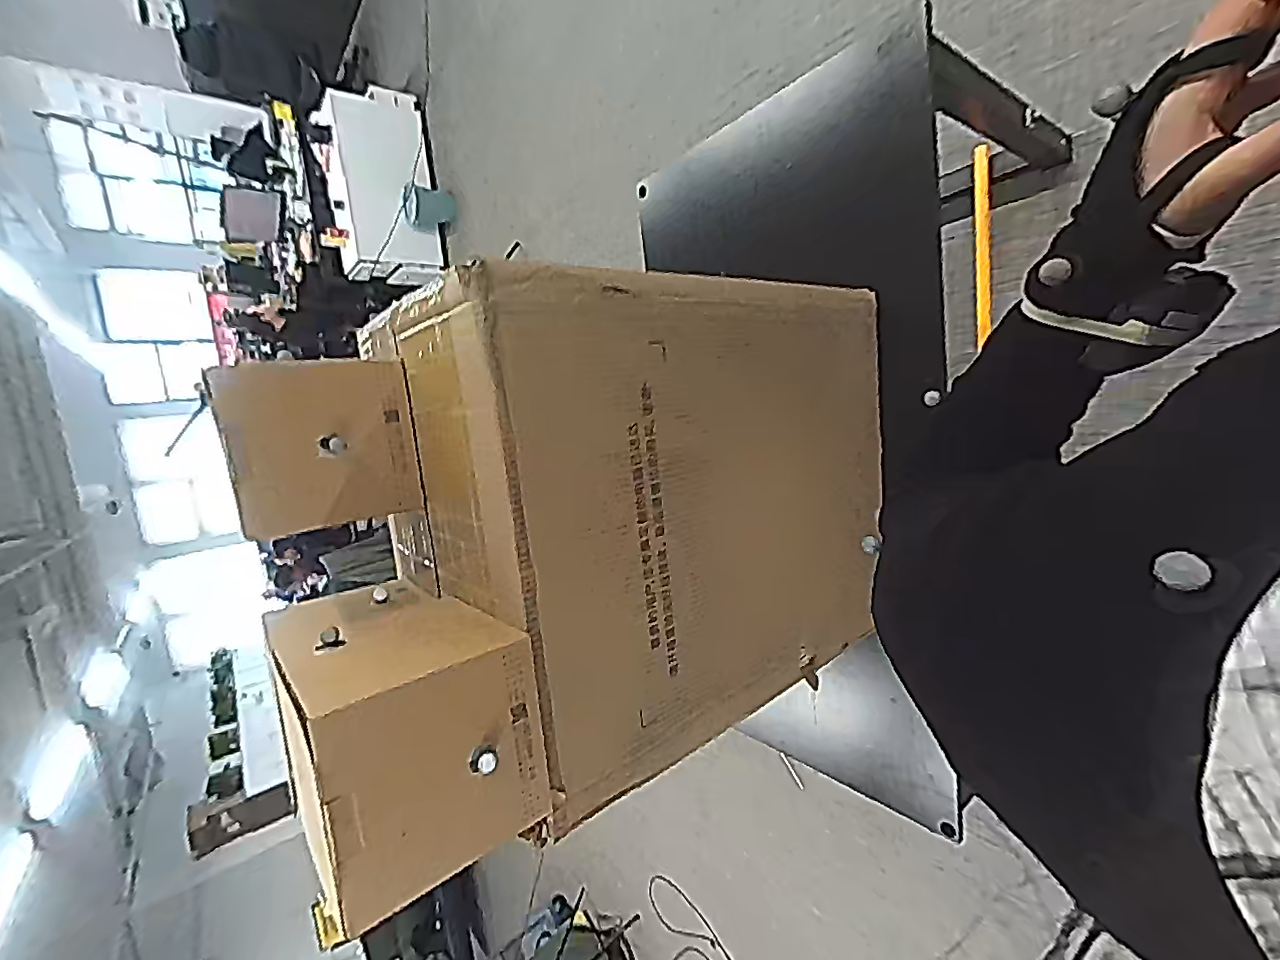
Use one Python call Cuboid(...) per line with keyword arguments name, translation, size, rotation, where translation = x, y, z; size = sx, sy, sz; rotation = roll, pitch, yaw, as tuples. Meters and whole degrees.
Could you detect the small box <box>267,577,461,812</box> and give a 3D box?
Cuboid(name="small box", translation=(-0.323, 0.232, 0.638), size=(0.168, 0.176, 0.179), rotation=(5, 102, 53))
